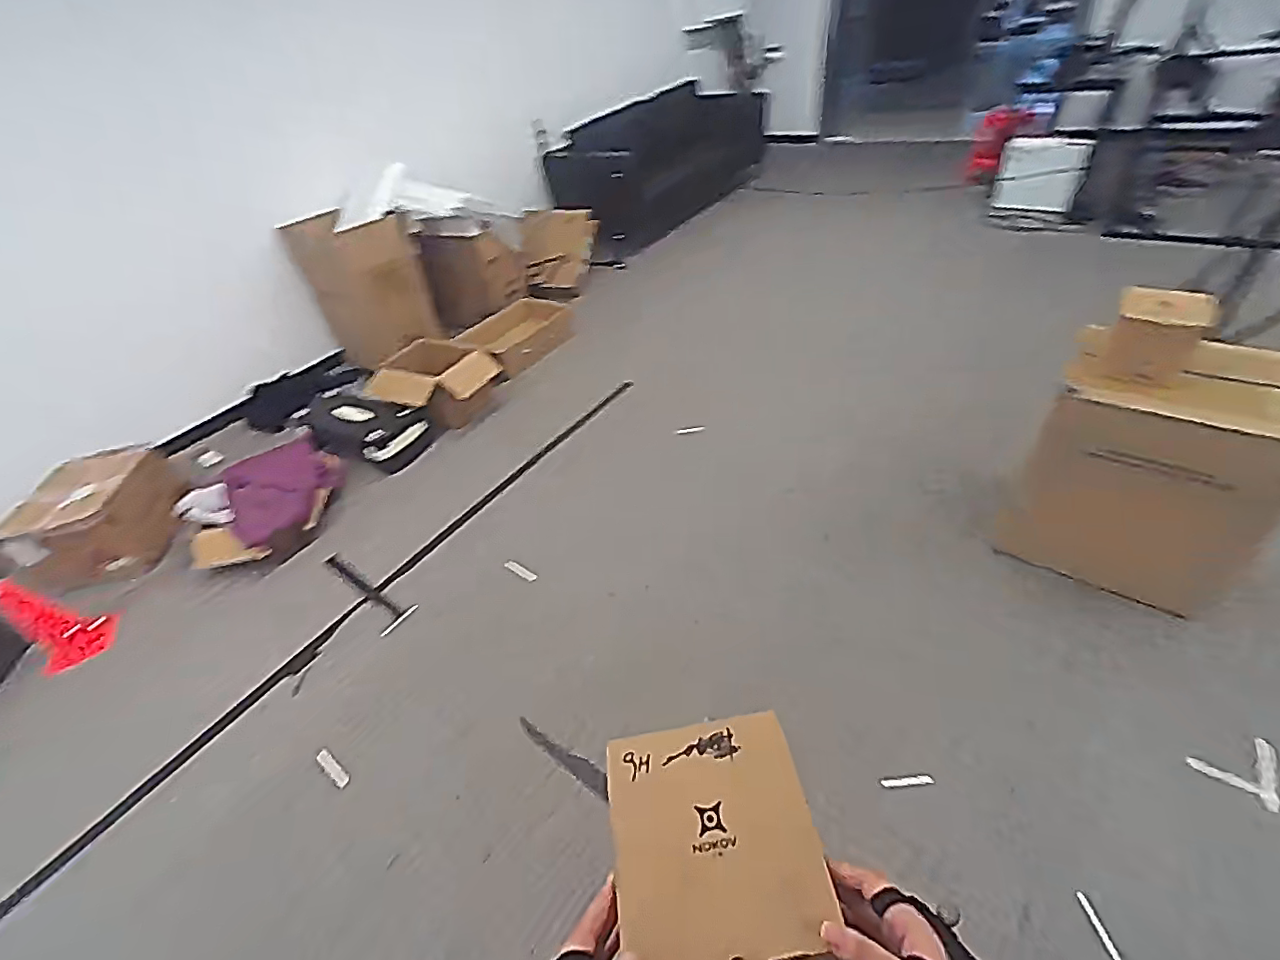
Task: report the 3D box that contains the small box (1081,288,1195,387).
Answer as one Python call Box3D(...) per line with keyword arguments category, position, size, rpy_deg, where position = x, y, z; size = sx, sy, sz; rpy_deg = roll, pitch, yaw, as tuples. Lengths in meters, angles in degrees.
Box3D(category="small box", position=(1.269, -0.367, 1.385), size=(0.168, 0.176, 0.179), rpy_deg=(21, 52, 30))
